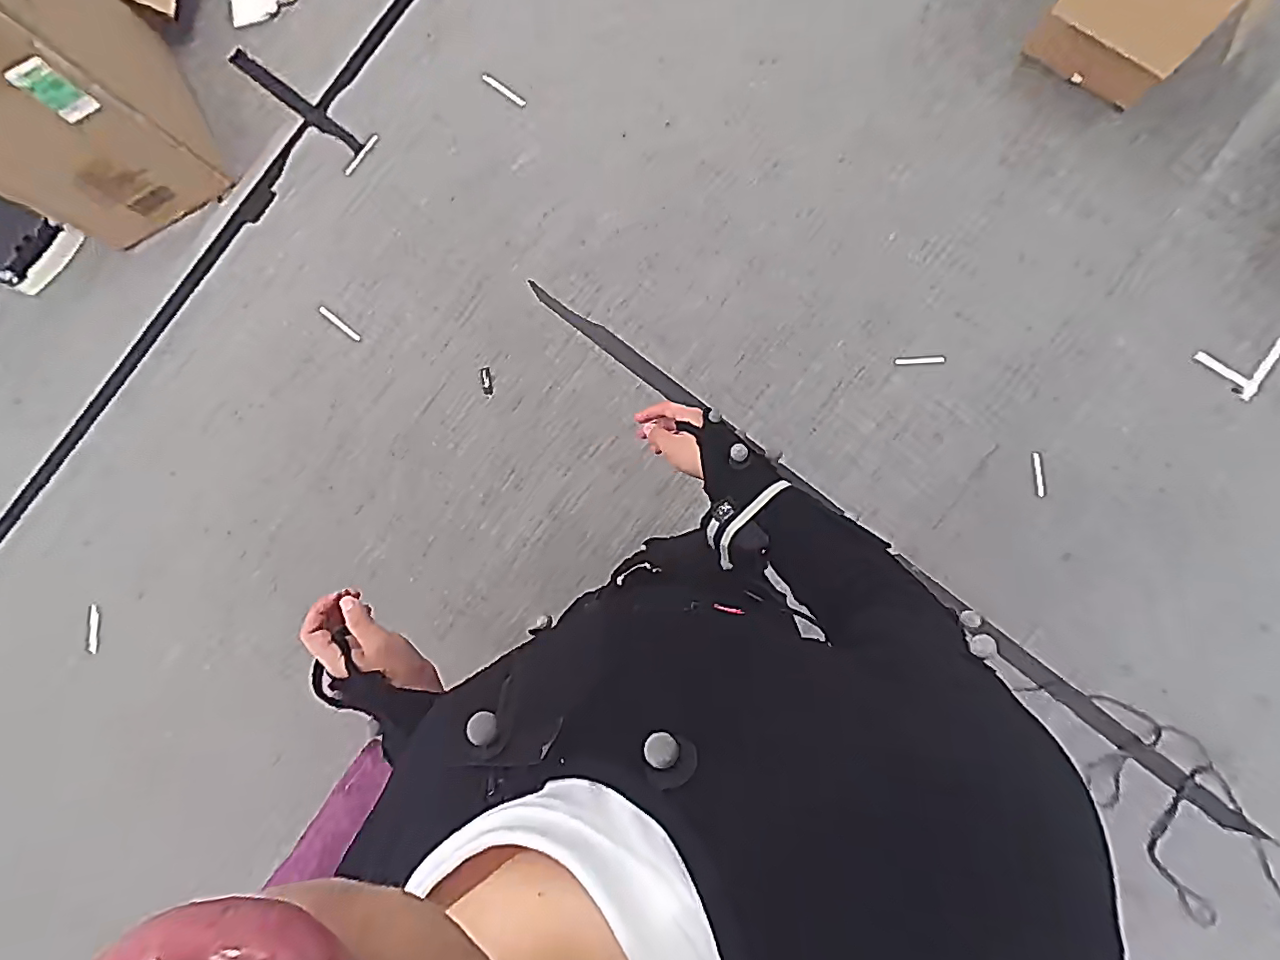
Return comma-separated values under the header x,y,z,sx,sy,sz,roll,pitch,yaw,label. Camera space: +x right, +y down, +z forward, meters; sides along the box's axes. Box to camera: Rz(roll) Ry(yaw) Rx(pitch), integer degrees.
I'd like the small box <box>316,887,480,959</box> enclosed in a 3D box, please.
x,y,z,sx,sy,sz,roll,pitch,yaw,label
-0.295,0.586,0.570,0.179,0.176,0.168,39,92,5,small box
